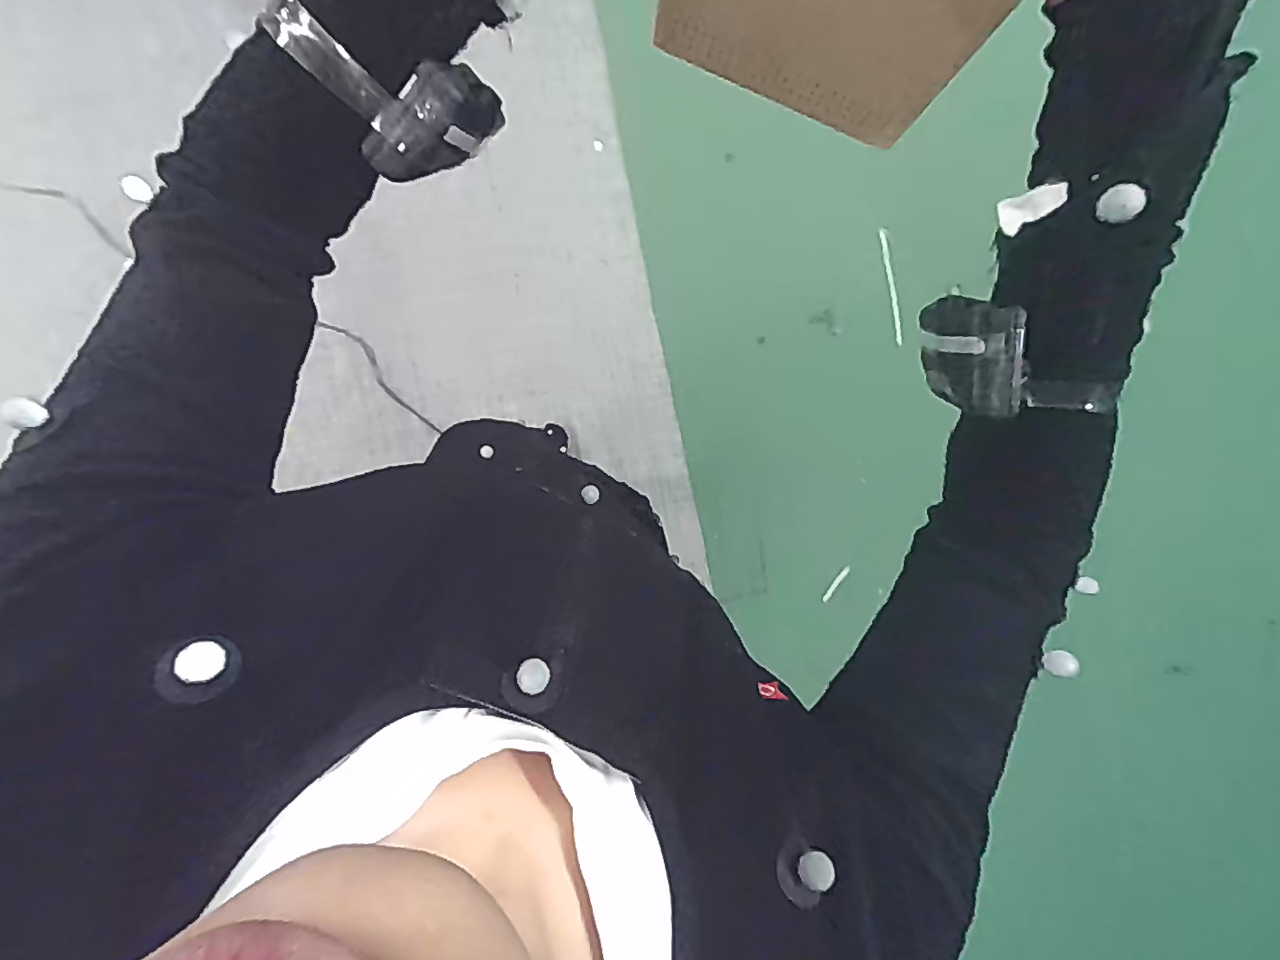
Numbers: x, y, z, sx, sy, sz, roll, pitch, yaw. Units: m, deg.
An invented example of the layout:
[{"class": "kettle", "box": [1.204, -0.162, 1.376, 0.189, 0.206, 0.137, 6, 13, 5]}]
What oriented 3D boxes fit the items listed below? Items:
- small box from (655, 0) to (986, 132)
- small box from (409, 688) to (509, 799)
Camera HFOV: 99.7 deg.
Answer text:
[{"class": "small box", "box": [0.119, -0.336, 0.290, 0.179, 0.176, 0.168, 20, 87, -6]}, {"class": "small box", "box": [-0.437, 0.641, 1.340, 0.179, 0.176, 0.168, -17, 92, -1]}]
